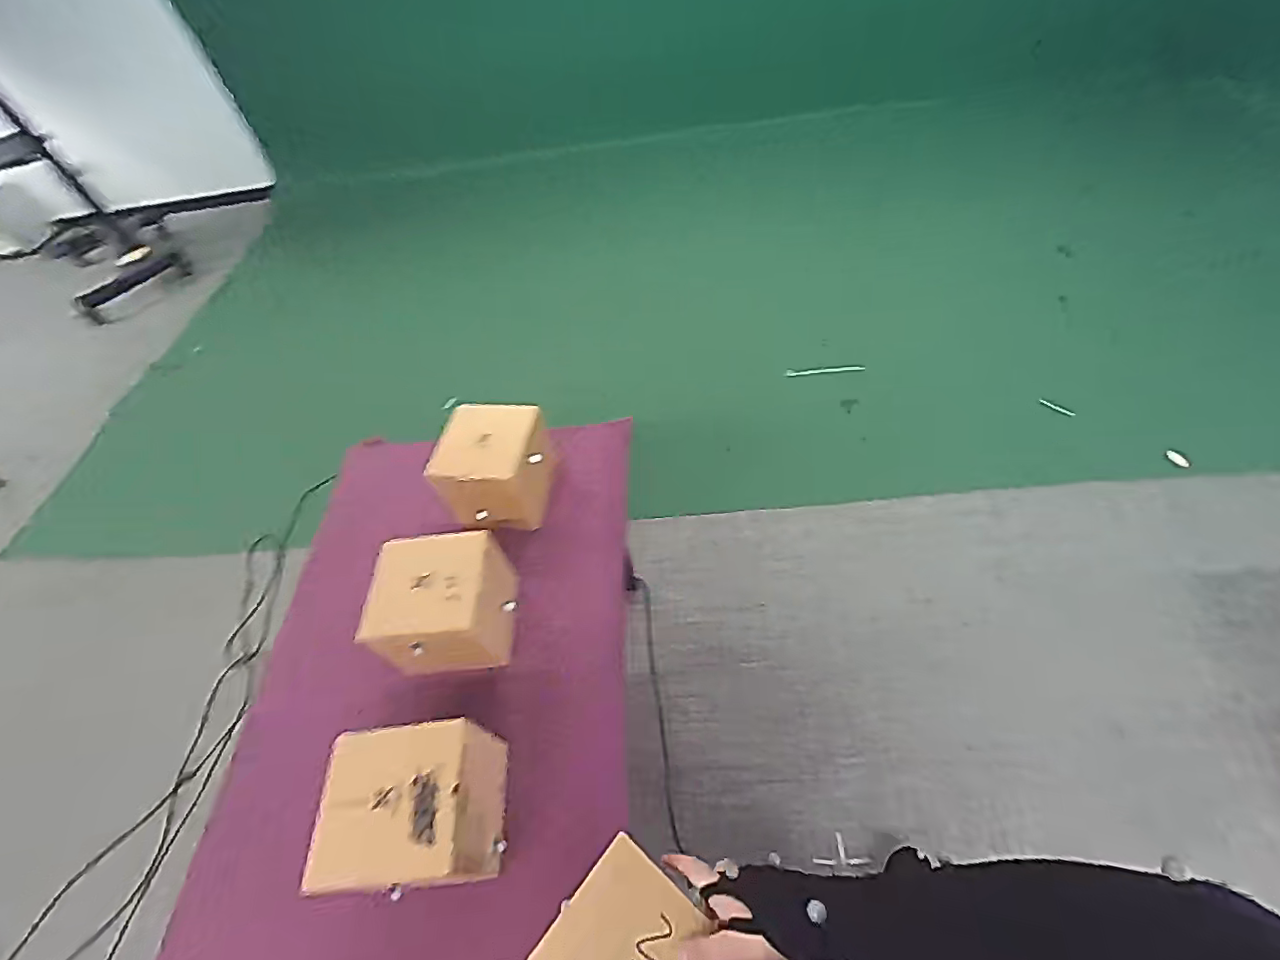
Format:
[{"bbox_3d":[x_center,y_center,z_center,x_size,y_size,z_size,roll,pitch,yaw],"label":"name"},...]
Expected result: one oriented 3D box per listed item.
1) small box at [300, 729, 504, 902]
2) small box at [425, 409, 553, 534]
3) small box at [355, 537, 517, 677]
[{"bbox_3d":[-0.291,0.440,0.709,0.179,0.176,0.168,-9,52,4],"label":"small box"},{"bbox_3d":[-0.279,-0.017,1.049,0.168,0.176,0.179,2,55,11],"label":"small box"},{"bbox_3d":[-0.319,0.213,0.883,0.179,0.176,0.168,-6,53,5],"label":"small box"}]
